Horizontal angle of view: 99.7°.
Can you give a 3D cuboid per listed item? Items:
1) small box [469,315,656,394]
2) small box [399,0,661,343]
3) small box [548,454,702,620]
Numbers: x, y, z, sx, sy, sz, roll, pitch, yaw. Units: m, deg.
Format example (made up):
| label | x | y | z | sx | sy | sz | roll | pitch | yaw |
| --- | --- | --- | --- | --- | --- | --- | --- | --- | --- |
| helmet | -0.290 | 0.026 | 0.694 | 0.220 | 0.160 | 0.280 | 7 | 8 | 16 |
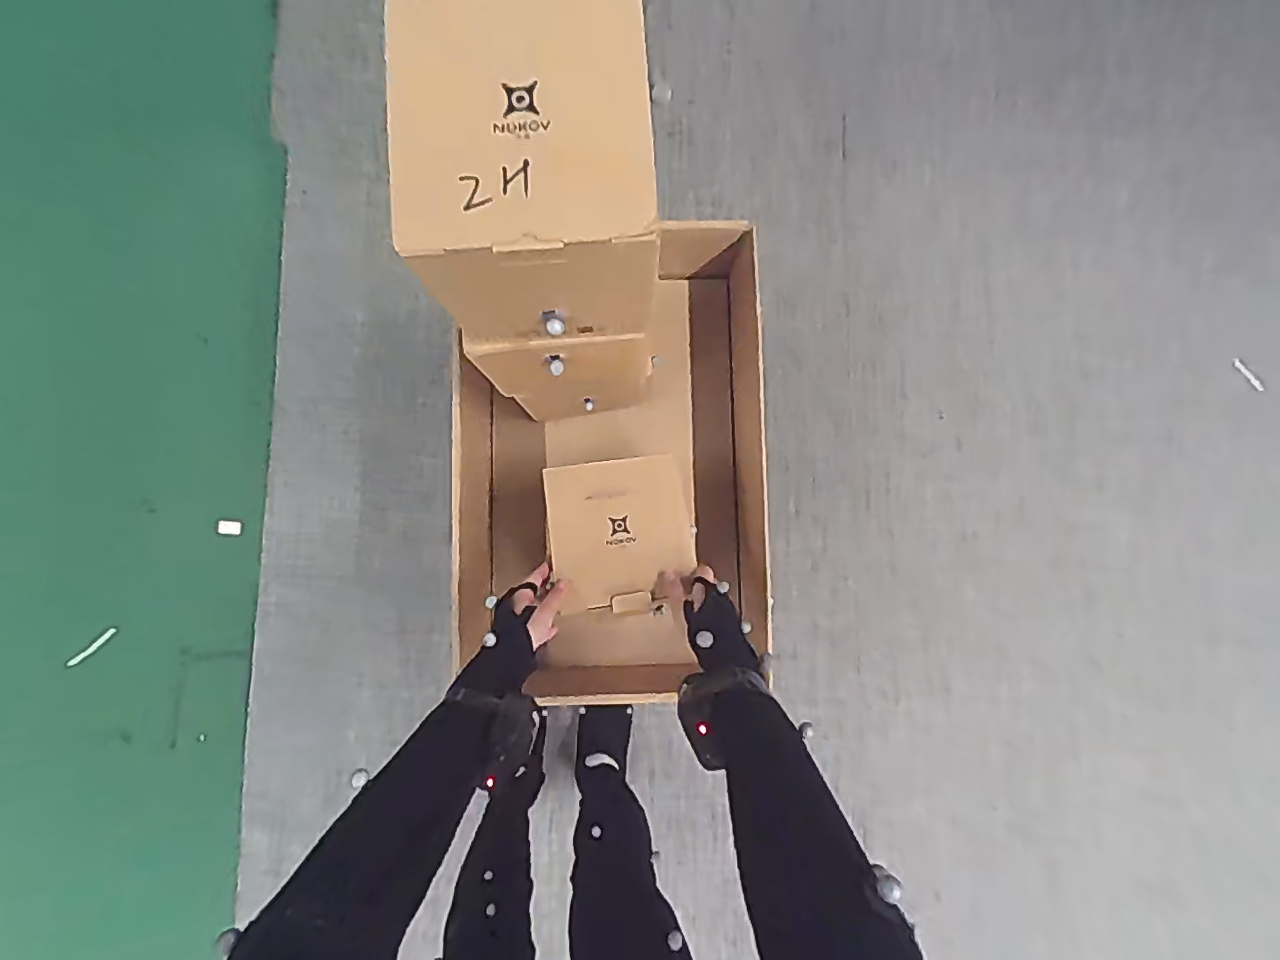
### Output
| label | x | y | z | sx | sy | sz | roll | pitch | yaw |
| --- | --- | --- | --- | --- | --- | --- | --- | --- | --- |
| small box | -0.080 | -0.198 | 0.591 | 0.179 | 0.176 | 0.168 | -6 | 85 | 0 |
| small box | -0.073 | -0.223 | 0.428 | 0.168 | 0.176 | 0.179 | -4 | 86 | 0 |
| small box | -0.024 | 0.083 | 0.707 | 0.168 | 0.176 | 0.179 | -7 | 70 | -6 |
